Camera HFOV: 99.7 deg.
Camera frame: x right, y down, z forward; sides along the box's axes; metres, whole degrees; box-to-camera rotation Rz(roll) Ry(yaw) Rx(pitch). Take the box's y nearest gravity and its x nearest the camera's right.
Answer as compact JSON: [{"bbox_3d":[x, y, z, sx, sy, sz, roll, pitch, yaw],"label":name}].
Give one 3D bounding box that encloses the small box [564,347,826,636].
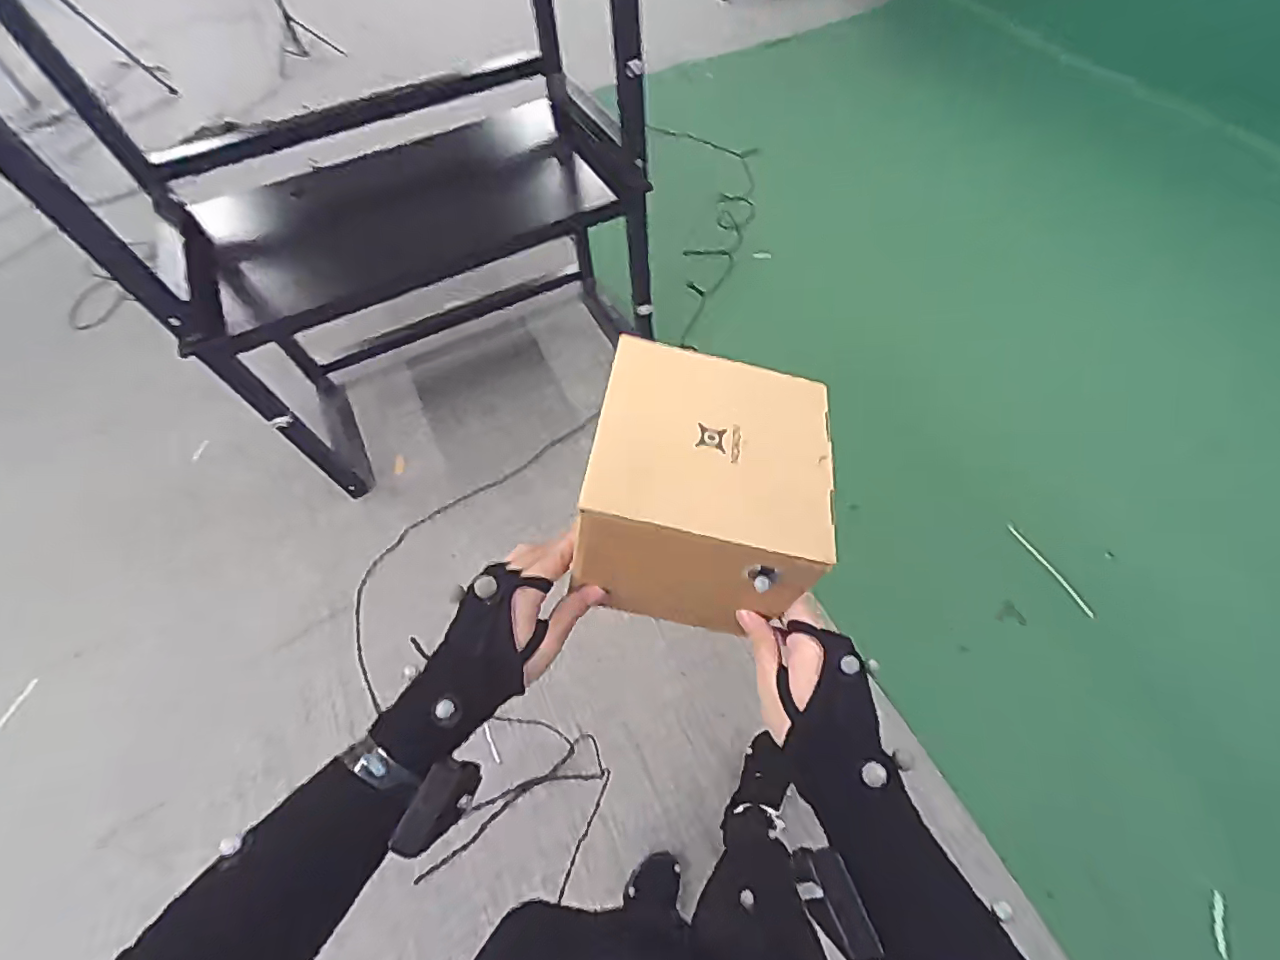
[{"bbox_3d":[0.037,0.019,0.463,0.179,0.176,0.168,13,55,-4],"label":"small box"}]
